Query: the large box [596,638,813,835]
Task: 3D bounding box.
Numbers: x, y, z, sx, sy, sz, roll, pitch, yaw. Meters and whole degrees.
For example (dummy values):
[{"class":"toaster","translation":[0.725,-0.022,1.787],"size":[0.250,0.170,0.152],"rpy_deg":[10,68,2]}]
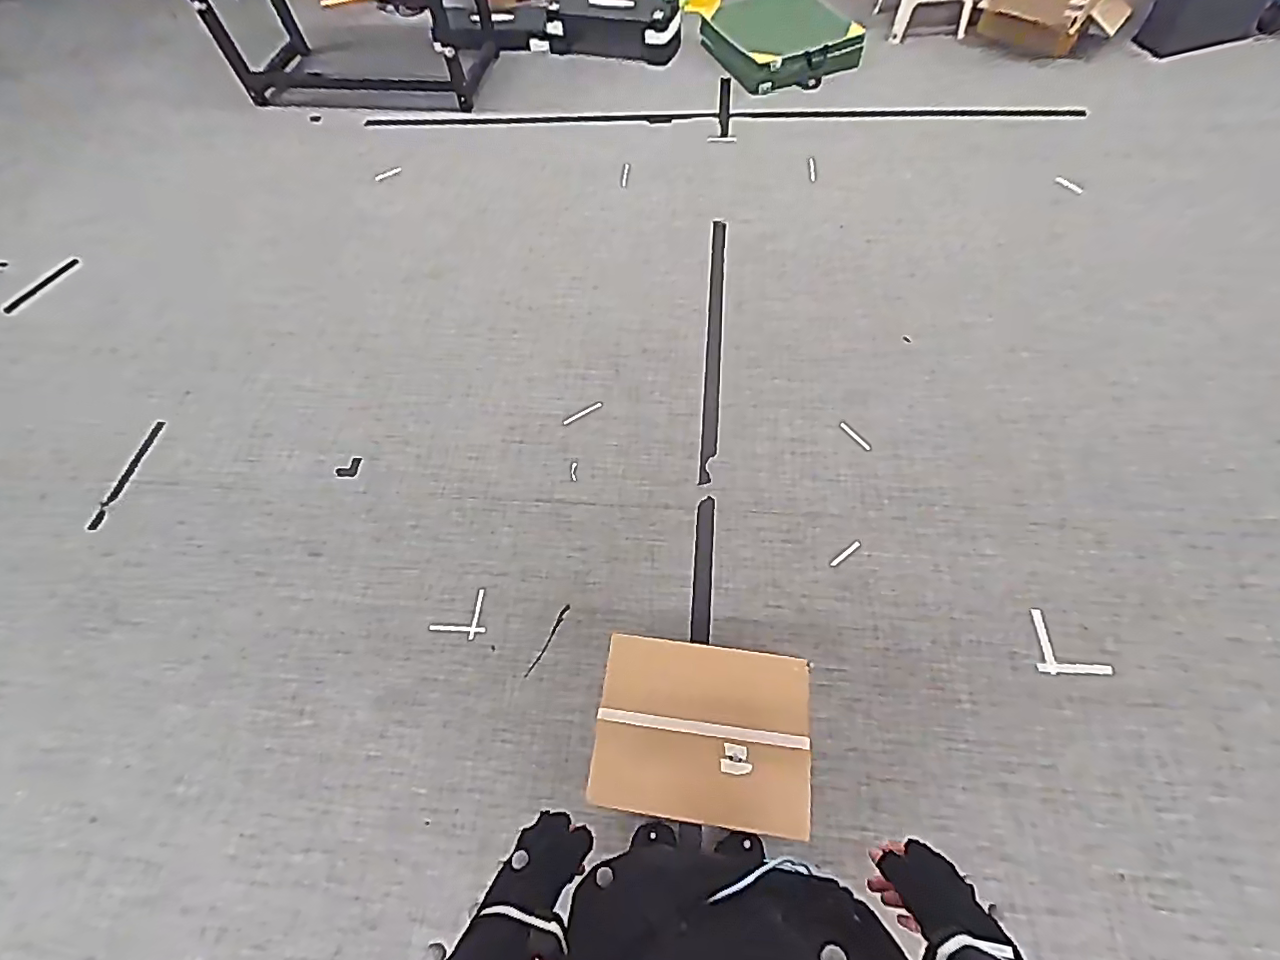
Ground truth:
[{"class":"large box","translation":[0.135,0.556,1.182],"size":[0.408,0.320,0.320],"rpy_deg":[6,62,6]}]
